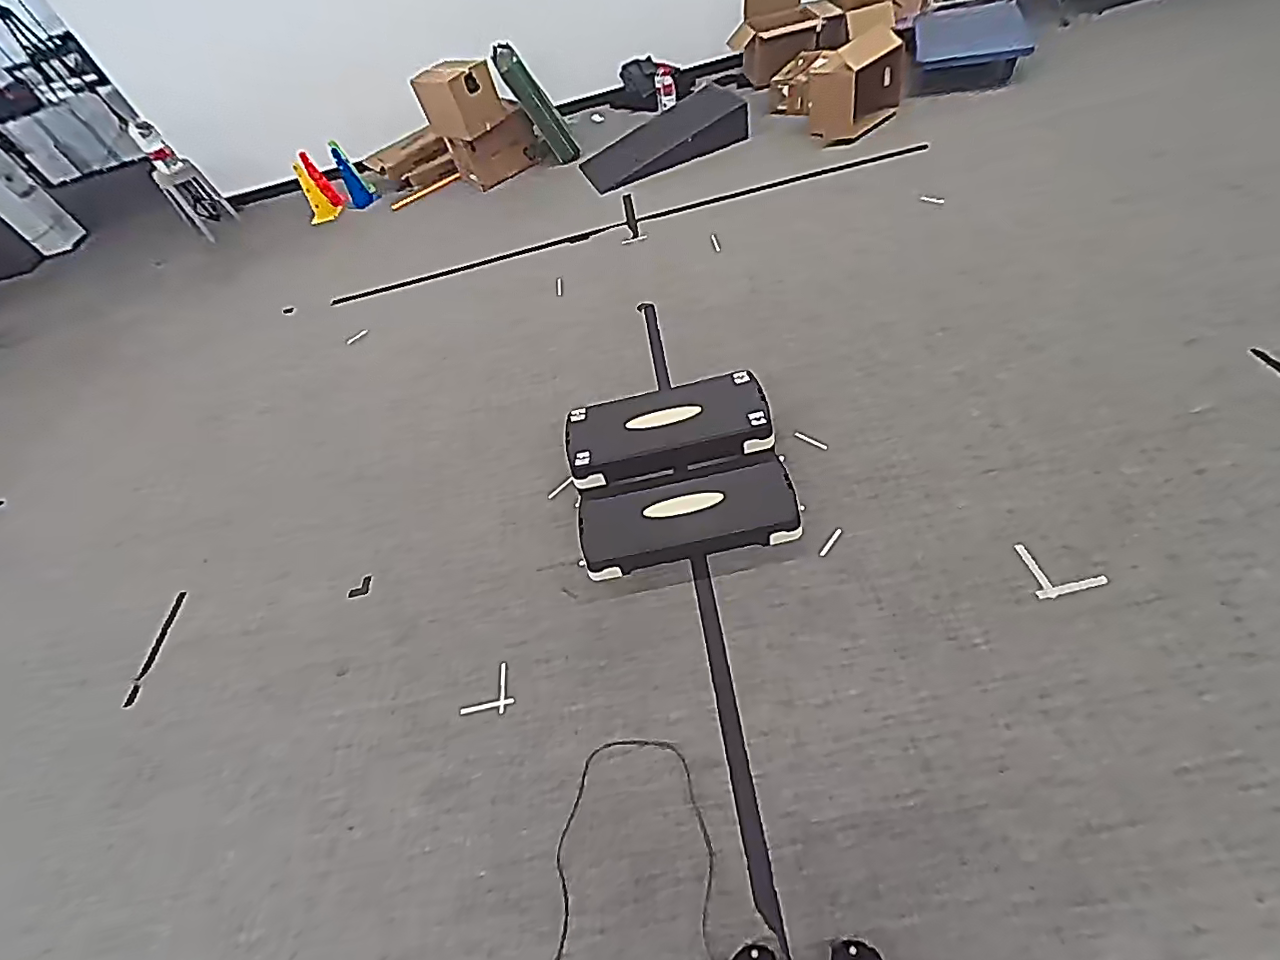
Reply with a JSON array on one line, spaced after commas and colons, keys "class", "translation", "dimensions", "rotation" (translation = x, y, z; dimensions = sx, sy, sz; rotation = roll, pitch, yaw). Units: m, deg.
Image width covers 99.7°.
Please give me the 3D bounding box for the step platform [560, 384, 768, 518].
[{"class": "step platform", "translation": [0.075, -0.102, 1.814], "dimensions": [0.684, 0.204, 0.286], "rotation": [-13, 51, 3]}]
